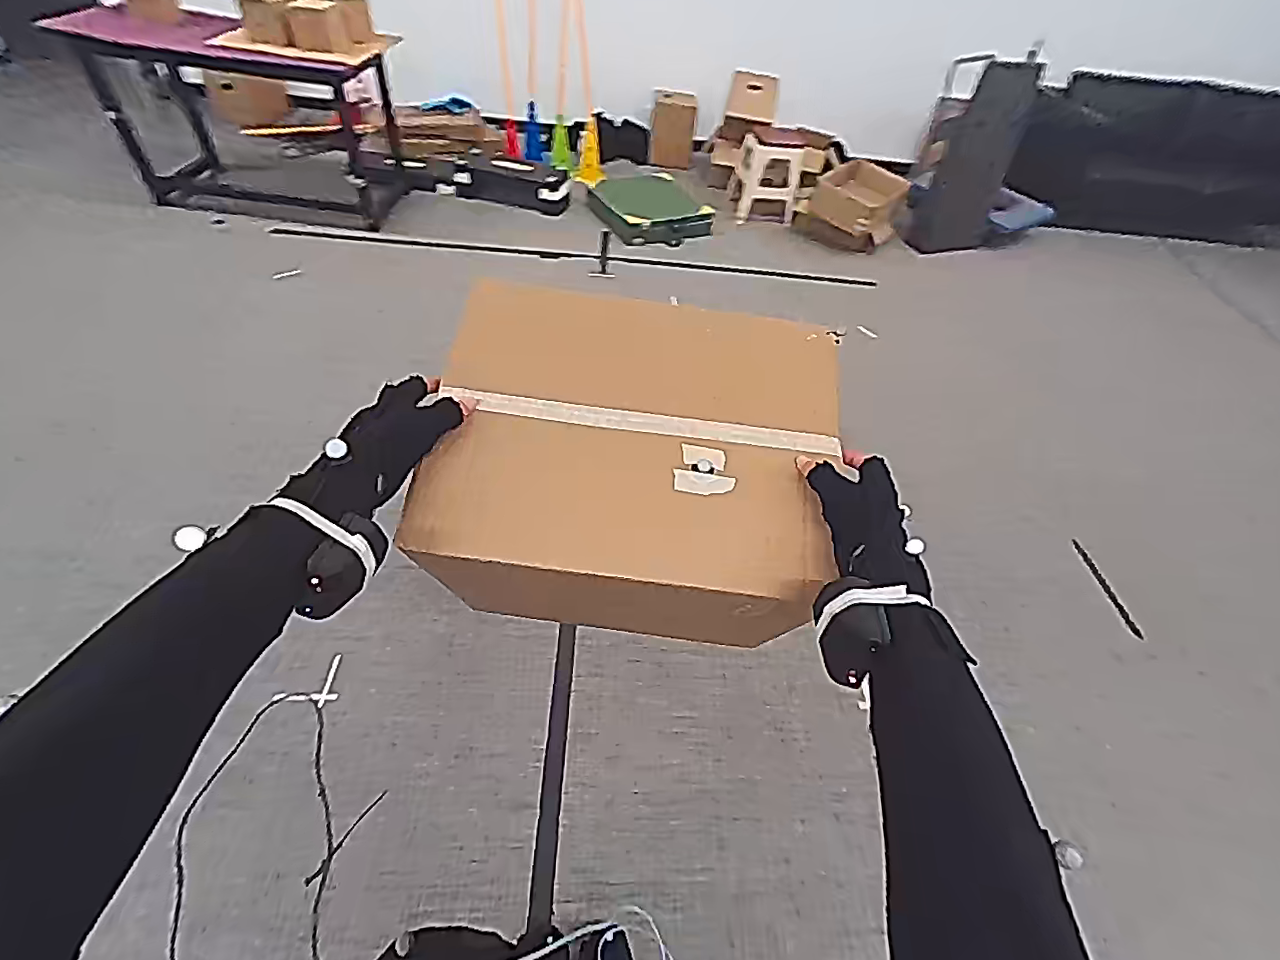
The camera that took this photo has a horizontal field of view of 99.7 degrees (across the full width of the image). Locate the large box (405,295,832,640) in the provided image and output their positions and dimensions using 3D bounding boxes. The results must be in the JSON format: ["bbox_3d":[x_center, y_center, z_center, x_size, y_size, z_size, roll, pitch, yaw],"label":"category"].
[{"bbox_3d":[-0.018,0.009,0.690,0.408,0.320,0.320,7,66,-2],"label":"large box"}]
